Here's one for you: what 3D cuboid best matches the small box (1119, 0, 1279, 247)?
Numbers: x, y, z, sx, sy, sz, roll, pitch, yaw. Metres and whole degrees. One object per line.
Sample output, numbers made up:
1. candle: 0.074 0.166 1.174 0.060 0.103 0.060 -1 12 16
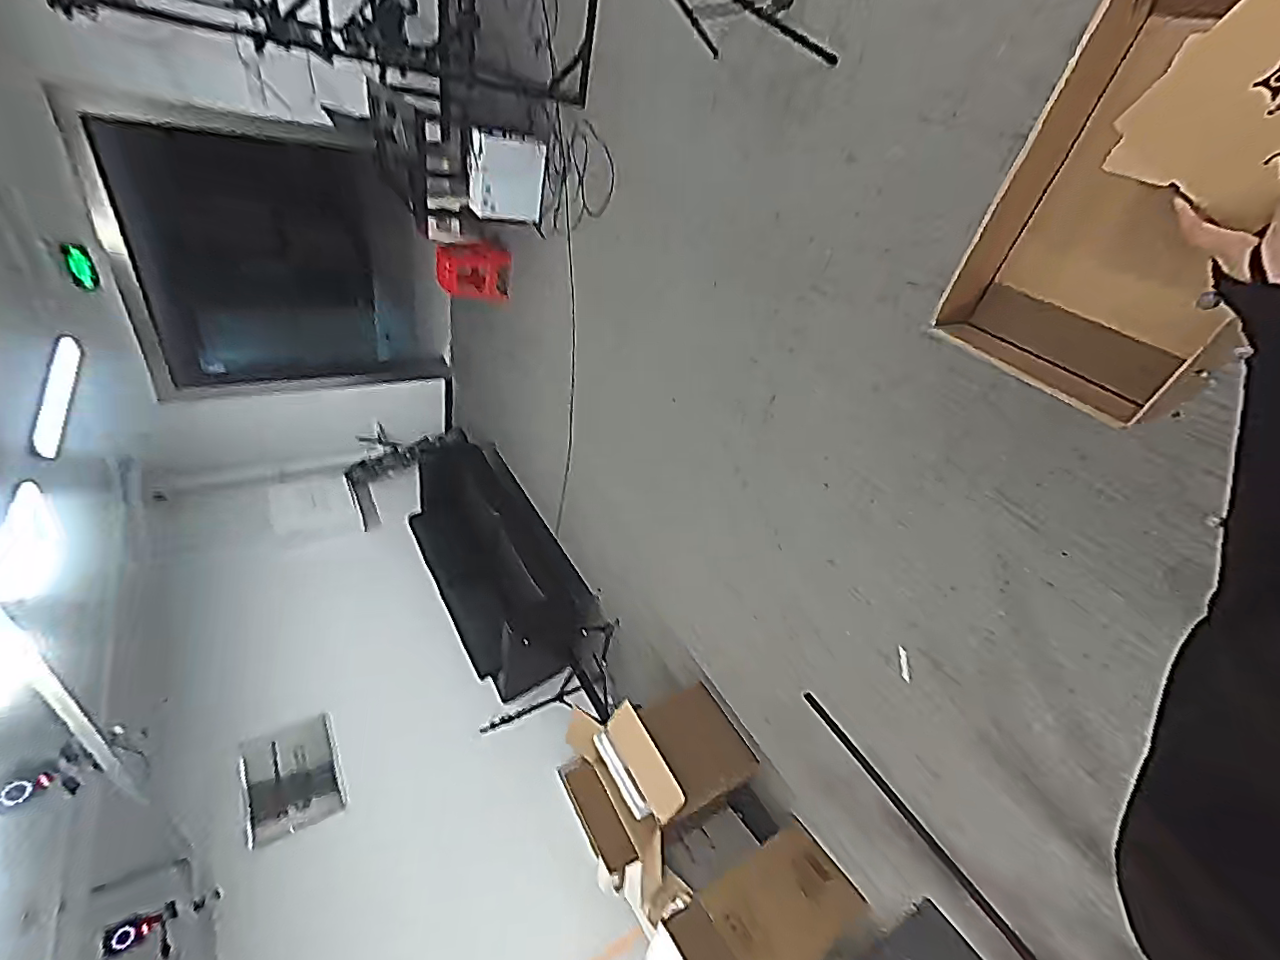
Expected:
1. small box: 0.588 -0.322 0.466 0.168 0.176 0.179 -53 49 53
